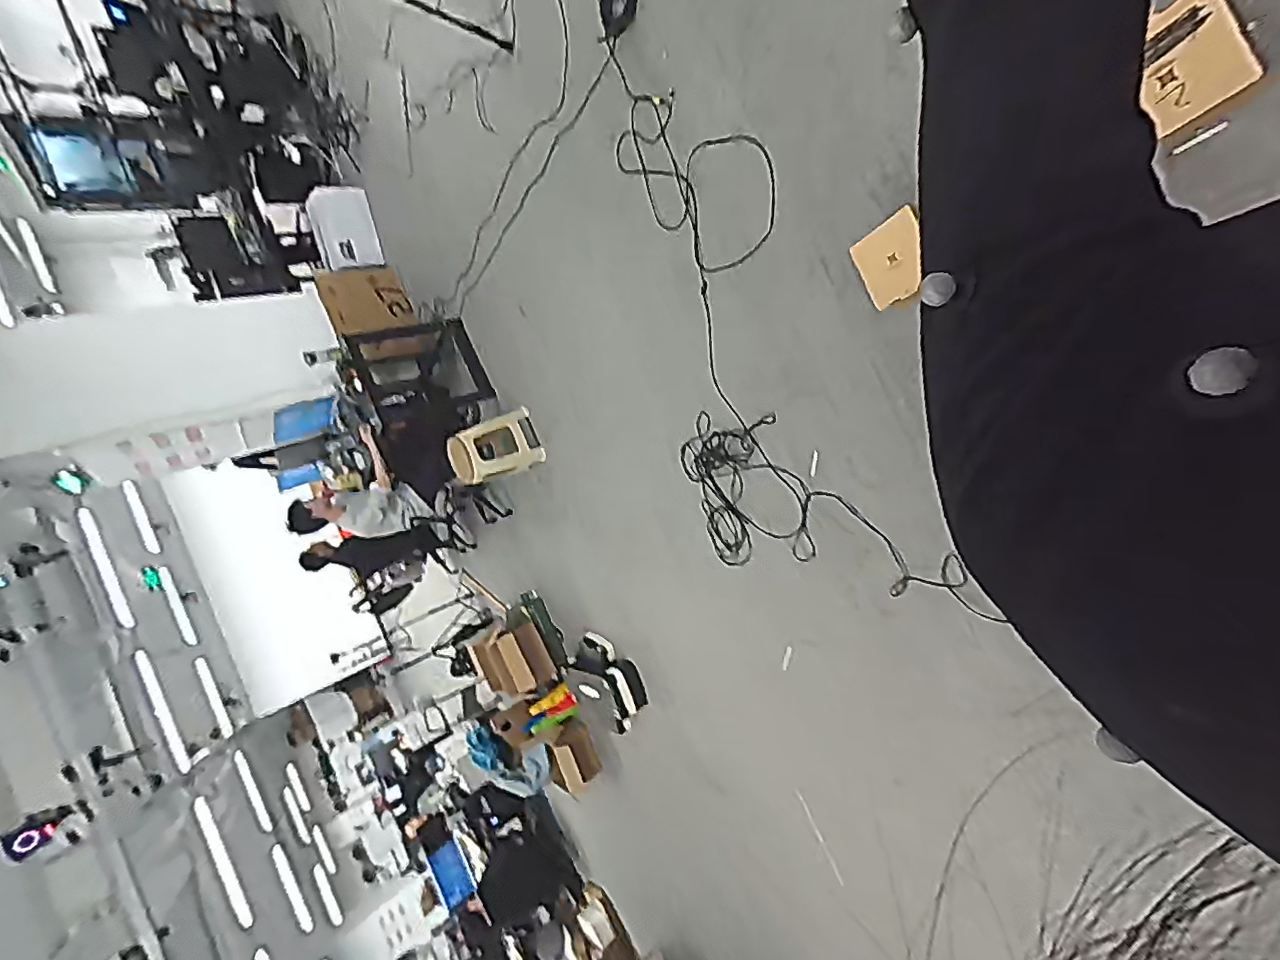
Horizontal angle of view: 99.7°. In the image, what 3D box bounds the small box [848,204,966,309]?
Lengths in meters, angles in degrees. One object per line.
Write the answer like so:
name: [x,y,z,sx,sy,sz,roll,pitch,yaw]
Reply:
small box: [0.650,-0.541,1.315,0.168,0.176,0.179,-29,84,55]
